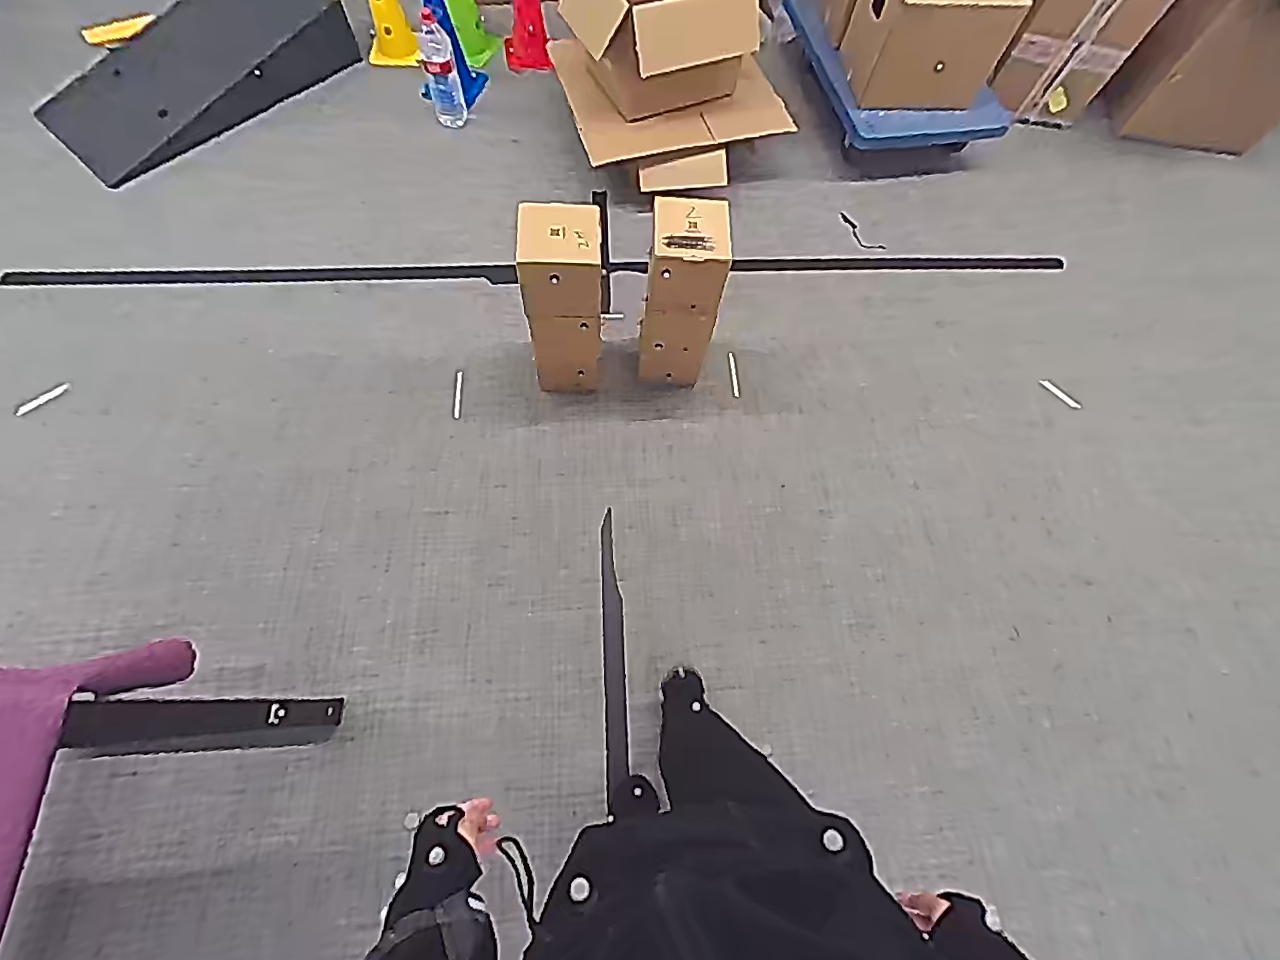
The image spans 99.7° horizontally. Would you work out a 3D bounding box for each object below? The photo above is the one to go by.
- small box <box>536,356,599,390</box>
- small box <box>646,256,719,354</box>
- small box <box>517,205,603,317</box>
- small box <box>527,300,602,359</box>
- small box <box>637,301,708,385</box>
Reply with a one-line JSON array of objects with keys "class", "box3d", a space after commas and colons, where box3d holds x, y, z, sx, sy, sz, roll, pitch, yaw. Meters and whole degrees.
[{"class": "small box", "box3d": [-0.200, -0.364, 1.506, 0.168, 0.176, 0.179, -2, 67, -6]}, {"class": "small box", "box3d": [0.104, -0.440, 1.381, 0.168, 0.176, 0.179, 2, 67, -4]}, {"class": "small box", "box3d": [-0.173, -0.480, 1.201, 0.179, 0.176, 0.168, -1, 68, -6]}, {"class": "small box", "box3d": [-0.184, -0.418, 1.353, 0.179, 0.176, 0.168, -1, 68, -6]}, {"class": "small box", "box3d": [0.090, -0.383, 1.536, 0.179, 0.176, 0.168, 3, 68, -4]}]
